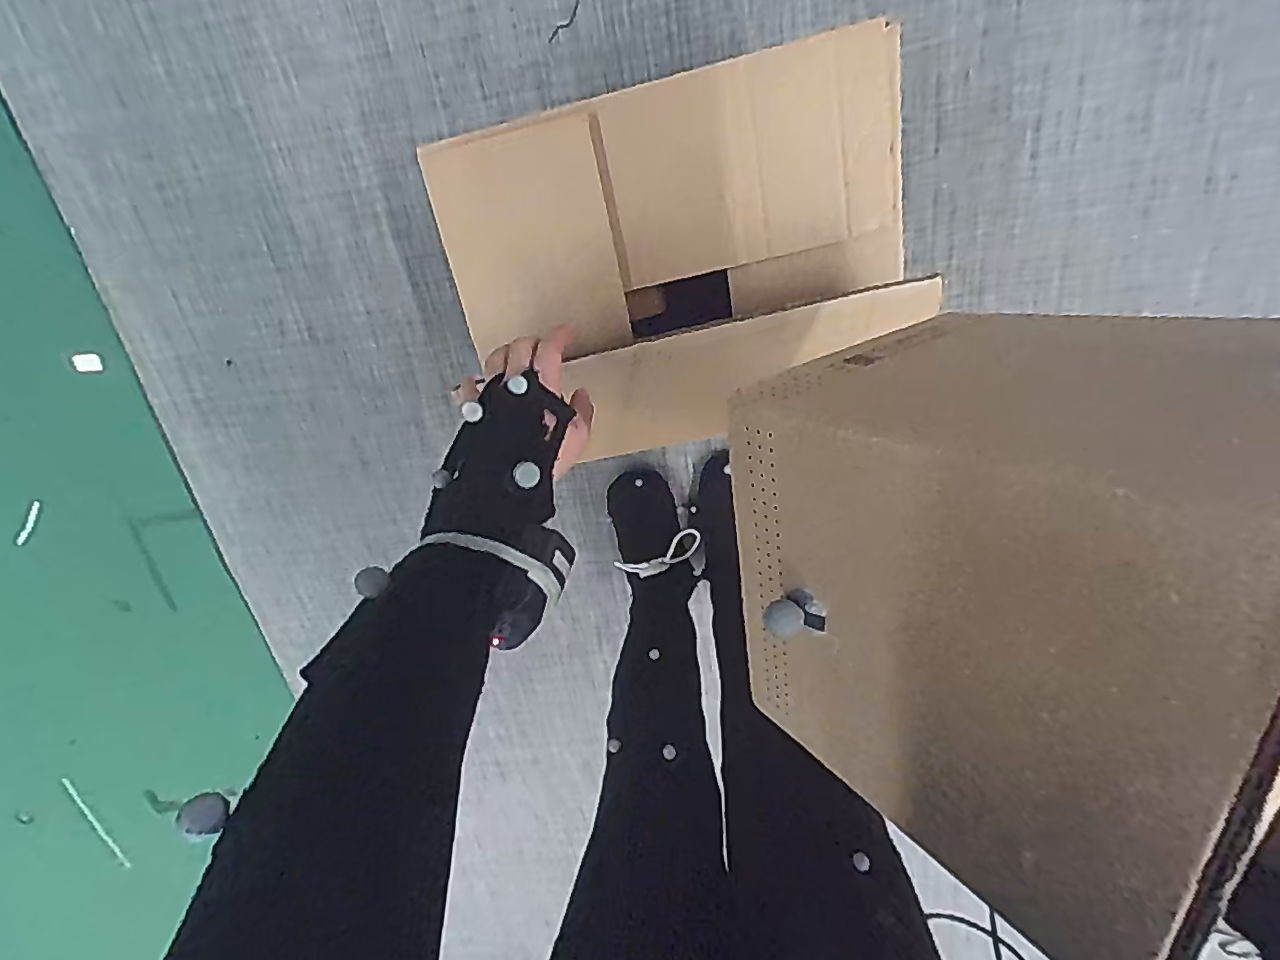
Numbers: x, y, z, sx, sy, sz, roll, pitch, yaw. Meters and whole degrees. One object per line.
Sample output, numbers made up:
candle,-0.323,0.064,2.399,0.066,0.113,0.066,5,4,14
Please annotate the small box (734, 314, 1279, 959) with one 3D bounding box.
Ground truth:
small box,0.157,0.035,0.227,0.168,0.176,0.179,-22,117,-26
